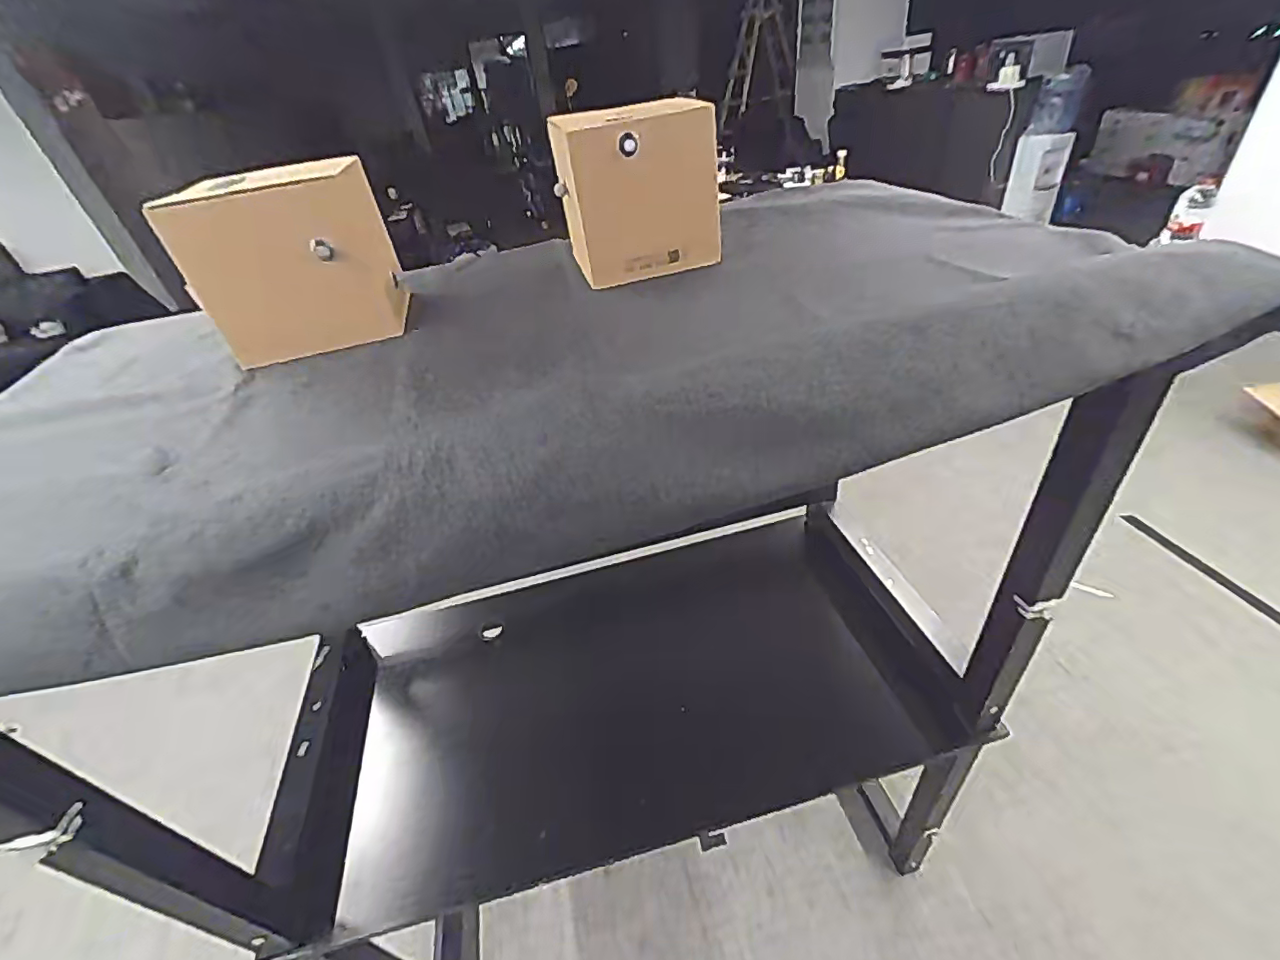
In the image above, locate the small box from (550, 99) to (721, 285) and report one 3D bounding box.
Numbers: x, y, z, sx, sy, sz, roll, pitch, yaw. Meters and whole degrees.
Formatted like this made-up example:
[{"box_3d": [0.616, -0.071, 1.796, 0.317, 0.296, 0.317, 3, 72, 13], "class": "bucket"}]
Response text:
[{"box_3d": [-0.007, -0.357, 0.669, 0.168, 0.176, 0.179, -15, 37, -6], "class": "small box"}]
